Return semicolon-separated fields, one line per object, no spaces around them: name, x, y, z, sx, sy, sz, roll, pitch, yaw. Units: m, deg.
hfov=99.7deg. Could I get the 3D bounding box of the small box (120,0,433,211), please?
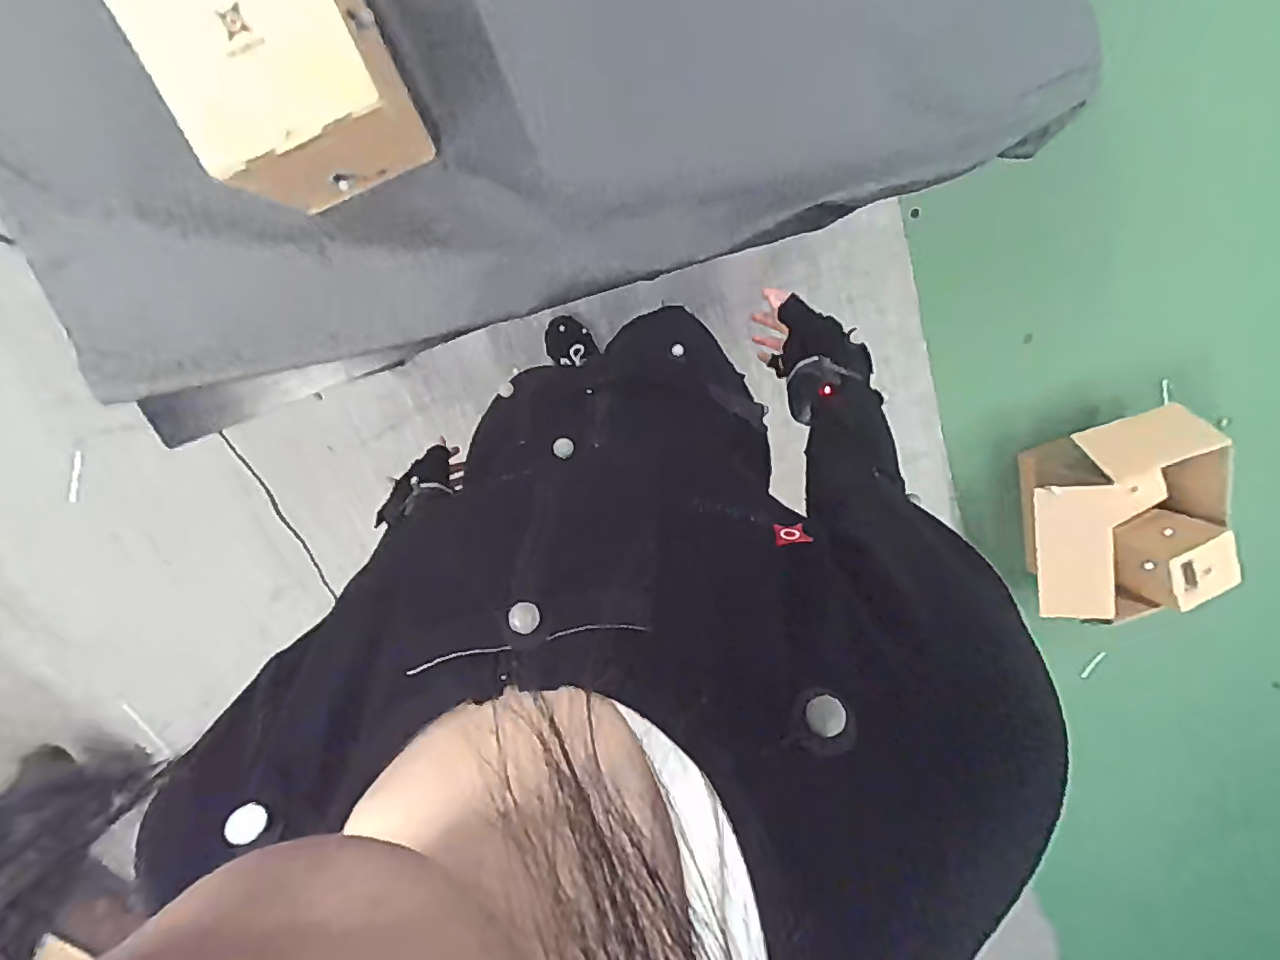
small box;-0.334;-0.394;0.530;0.168;0.176;0.179;-23;108;2
